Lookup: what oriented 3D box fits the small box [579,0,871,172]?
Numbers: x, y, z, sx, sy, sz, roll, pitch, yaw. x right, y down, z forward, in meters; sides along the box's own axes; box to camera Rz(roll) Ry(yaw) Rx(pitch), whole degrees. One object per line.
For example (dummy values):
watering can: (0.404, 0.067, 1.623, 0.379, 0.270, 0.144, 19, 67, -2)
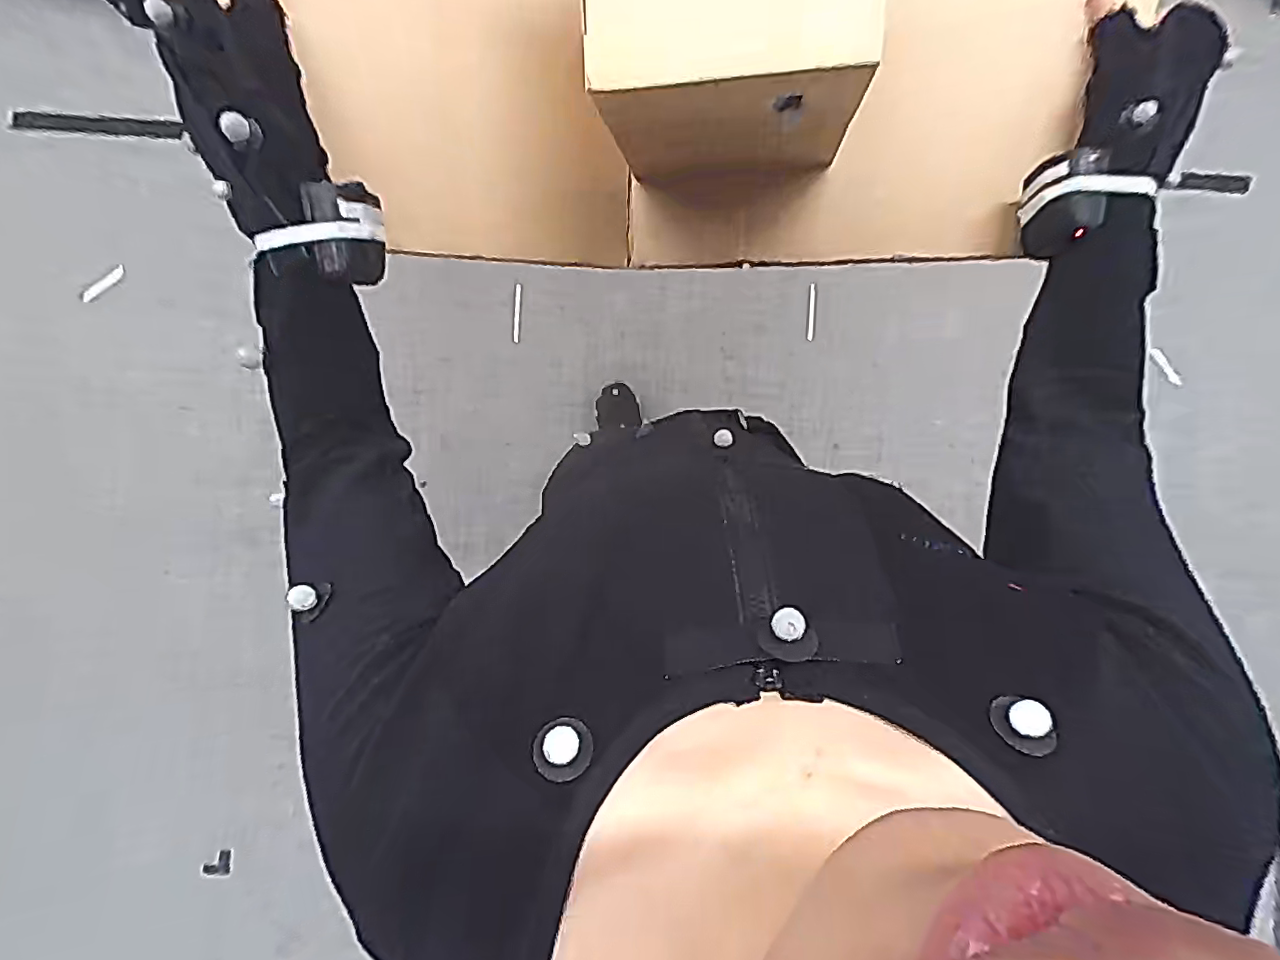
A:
small box: (0.061, -0.341, 0.391, 0.179, 0.176, 0.168, 2, 102, 10)
